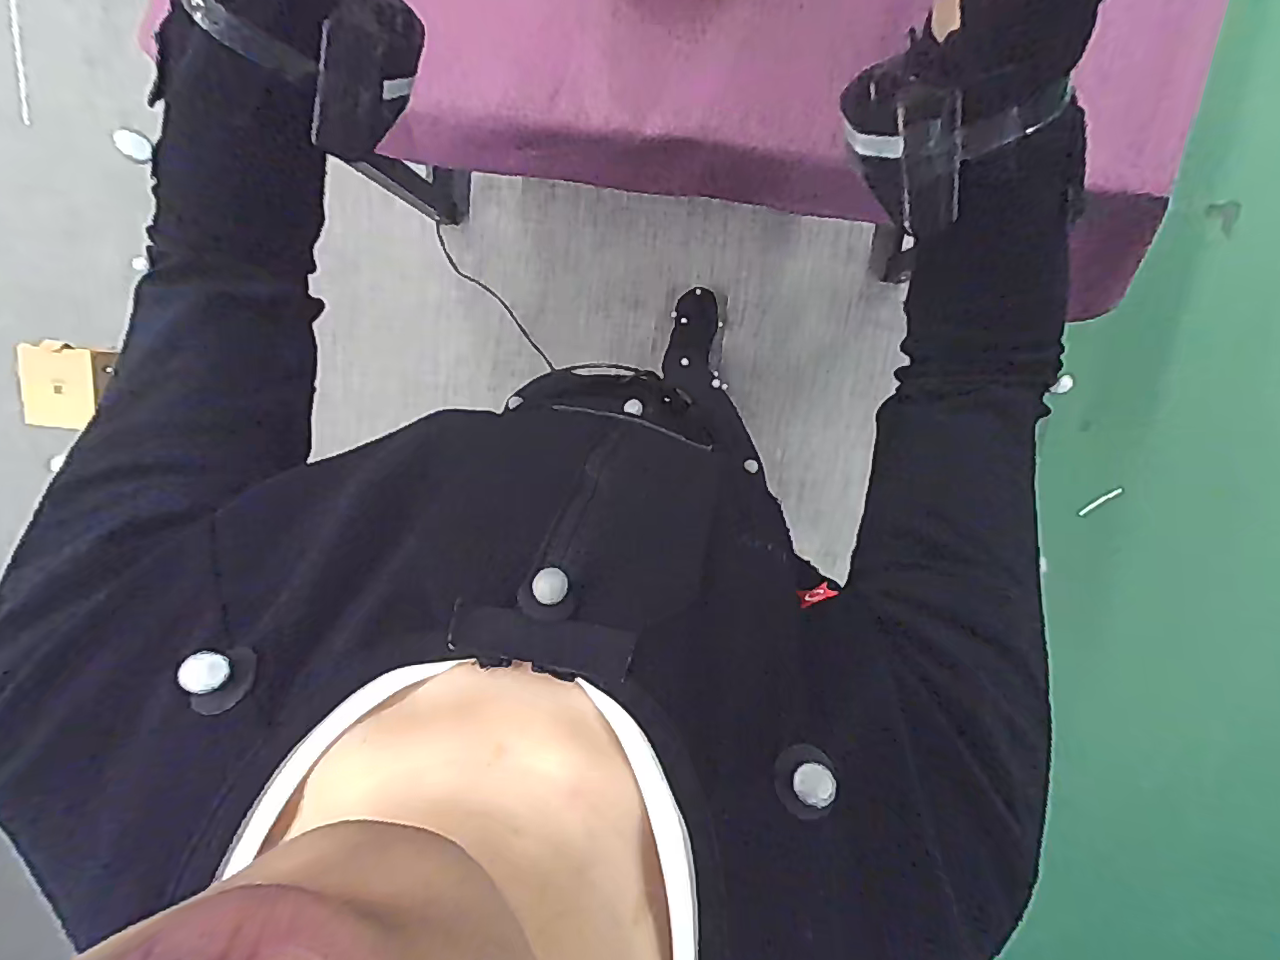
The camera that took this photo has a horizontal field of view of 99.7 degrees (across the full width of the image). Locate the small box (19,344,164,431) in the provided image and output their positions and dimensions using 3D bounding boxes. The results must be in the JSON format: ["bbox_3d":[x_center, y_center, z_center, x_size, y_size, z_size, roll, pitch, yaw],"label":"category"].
[{"bbox_3d":[-1.249,-0.214,1.245,0.168,0.176,0.179,6,100,2],"label":"small box"}]
